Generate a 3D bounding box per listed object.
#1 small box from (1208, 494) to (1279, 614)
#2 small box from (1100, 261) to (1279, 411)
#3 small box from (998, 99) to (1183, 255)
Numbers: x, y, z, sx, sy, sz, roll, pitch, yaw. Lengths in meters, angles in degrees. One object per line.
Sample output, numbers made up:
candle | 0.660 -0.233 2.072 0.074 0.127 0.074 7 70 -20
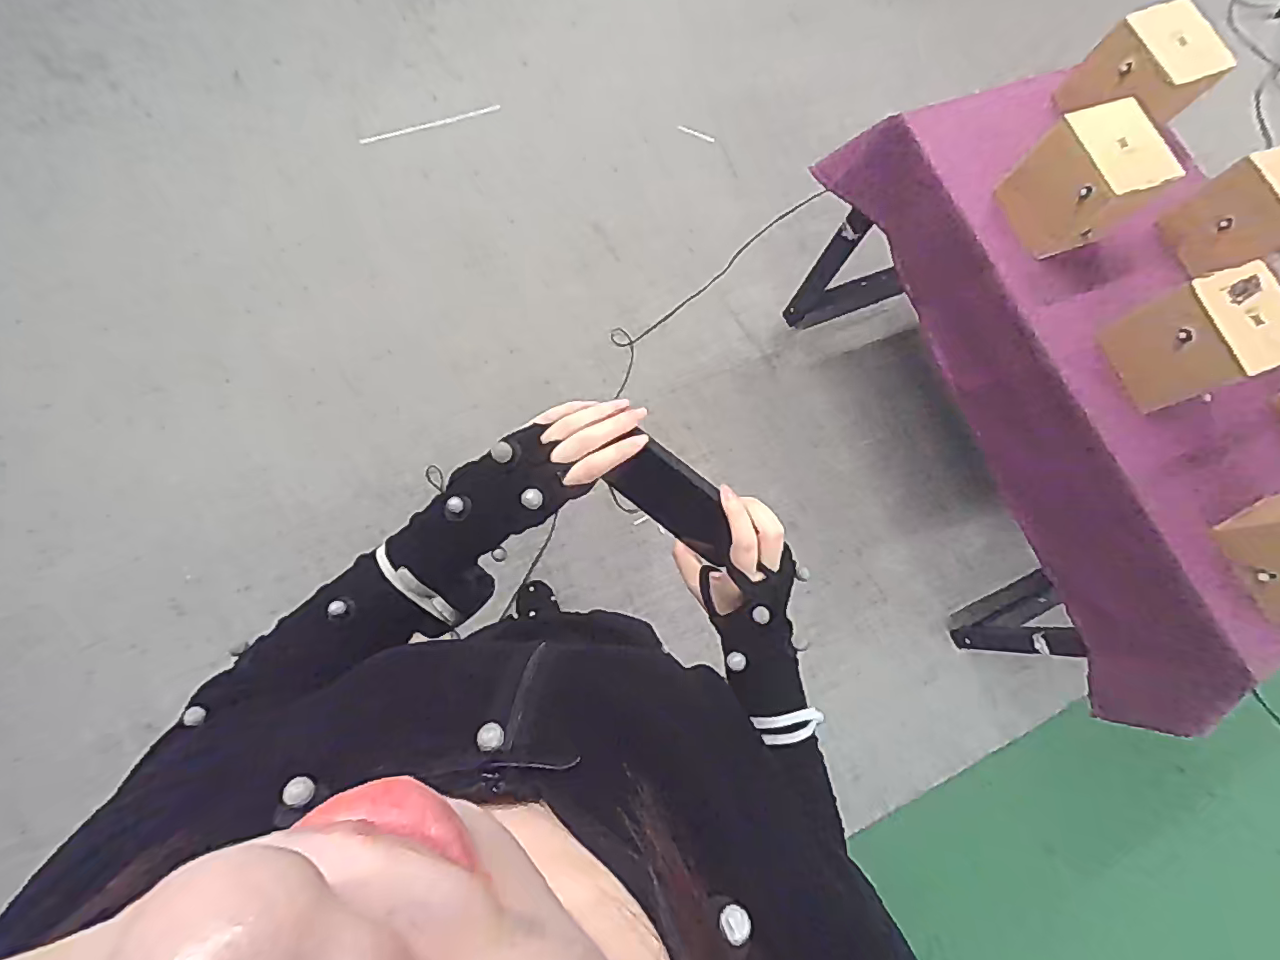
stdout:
small box | 1.109 0.114 0.876 0.168 0.176 0.179 -22 80 -12
small box | 0.976 -0.246 0.950 0.168 0.176 0.179 -18 80 -11
small box | 0.824 -0.559 1.010 0.168 0.176 0.179 -20 80 -12
